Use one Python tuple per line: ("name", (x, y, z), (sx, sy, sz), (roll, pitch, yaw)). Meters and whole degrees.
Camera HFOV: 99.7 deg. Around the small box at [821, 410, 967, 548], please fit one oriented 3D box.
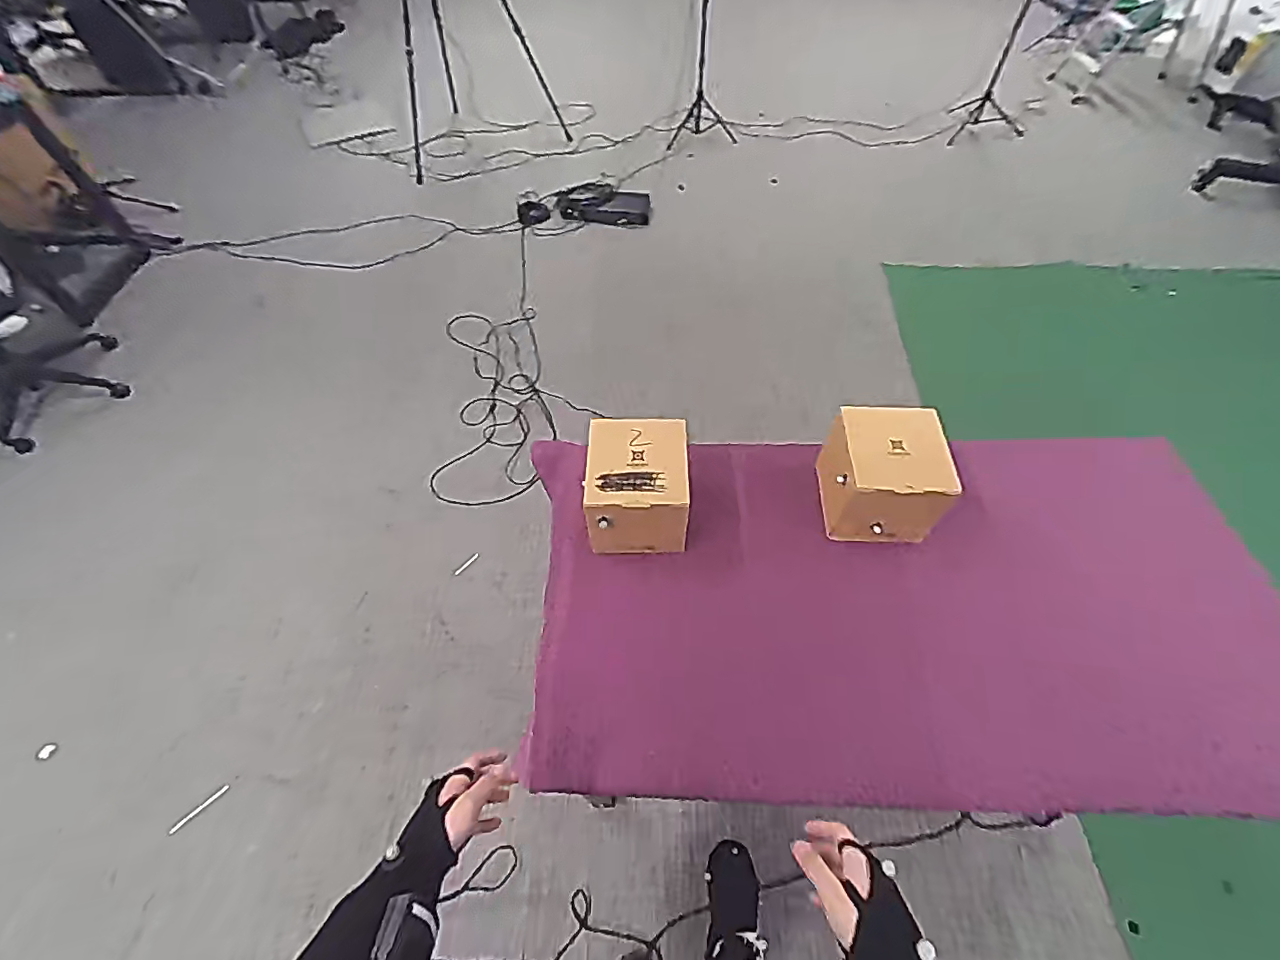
("small box", (0.428, 0.001, 0.947), (0.168, 0.176, 0.179), (3, 56, 2))
